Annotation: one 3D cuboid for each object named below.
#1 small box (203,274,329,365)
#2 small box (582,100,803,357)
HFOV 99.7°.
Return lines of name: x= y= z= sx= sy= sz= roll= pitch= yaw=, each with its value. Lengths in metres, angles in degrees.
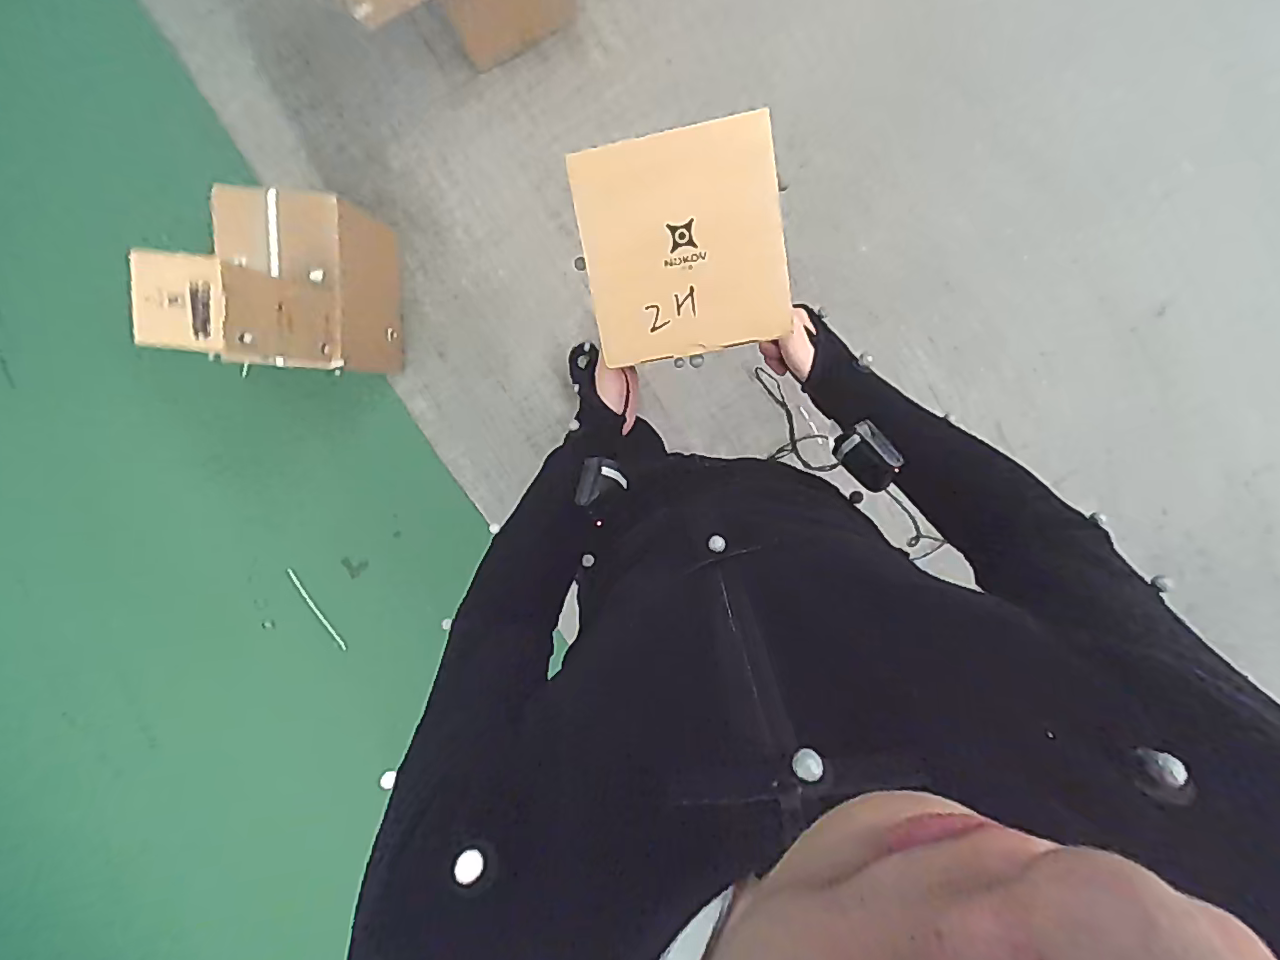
small box: x=-0.831 y=-0.353 z=1.216 sx=0.179 sy=0.176 sz=0.168 roll=7 pitch=98 yaw=2
small box: x=0.050 y=-0.218 z=0.518 sx=0.168 sy=0.176 sz=0.179 roll=-8 pitch=104 yaw=7
